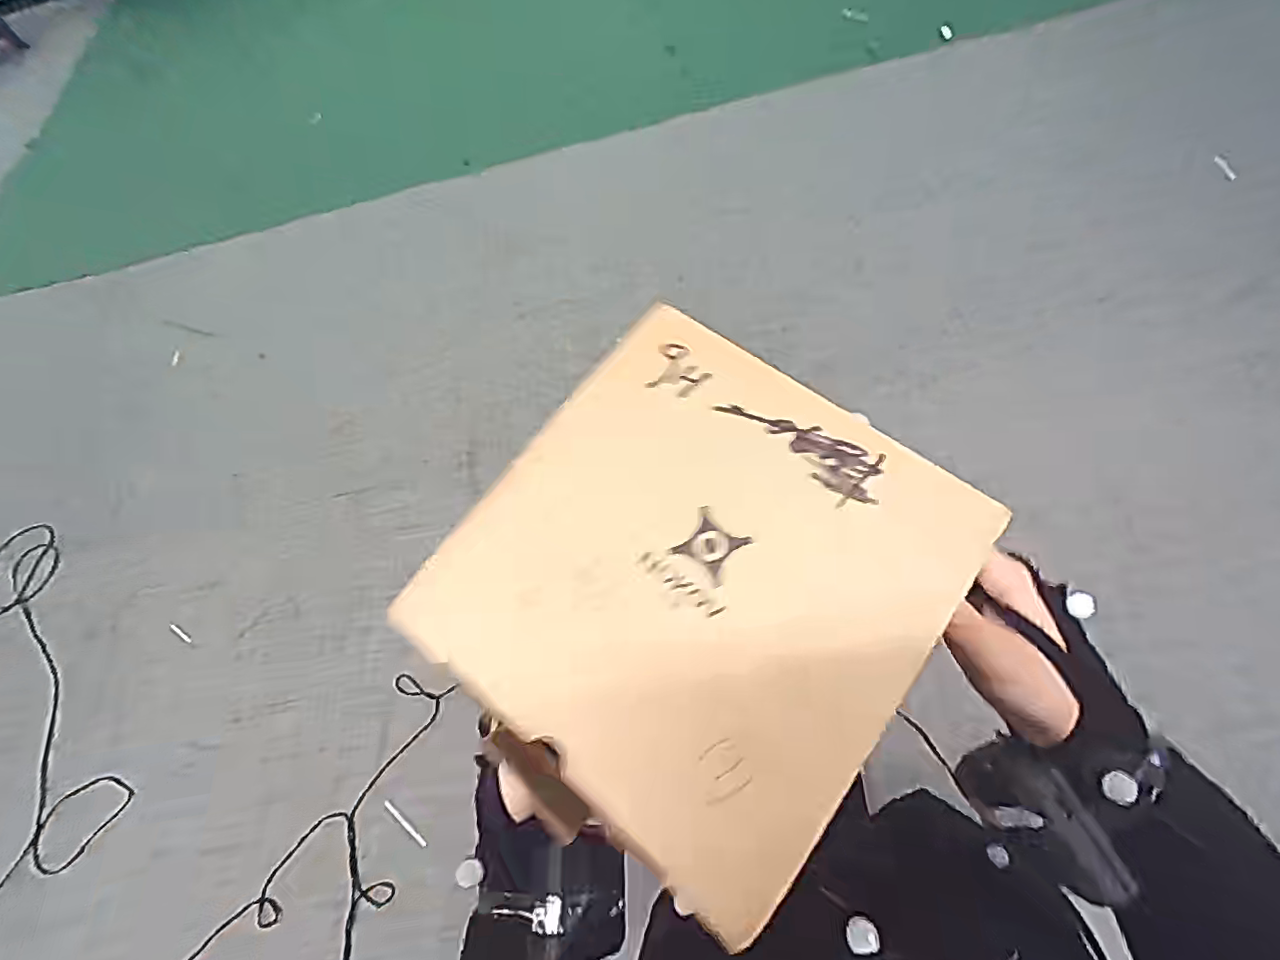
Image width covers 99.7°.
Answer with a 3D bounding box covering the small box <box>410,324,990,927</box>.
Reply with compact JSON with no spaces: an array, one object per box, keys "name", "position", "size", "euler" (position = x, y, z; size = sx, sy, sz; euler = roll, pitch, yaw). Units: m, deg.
[{"name":"small box","position":[0.028,0.063,0.287],"size":[0.168,0.176,0.179],"euler":[36,76,16]}]
